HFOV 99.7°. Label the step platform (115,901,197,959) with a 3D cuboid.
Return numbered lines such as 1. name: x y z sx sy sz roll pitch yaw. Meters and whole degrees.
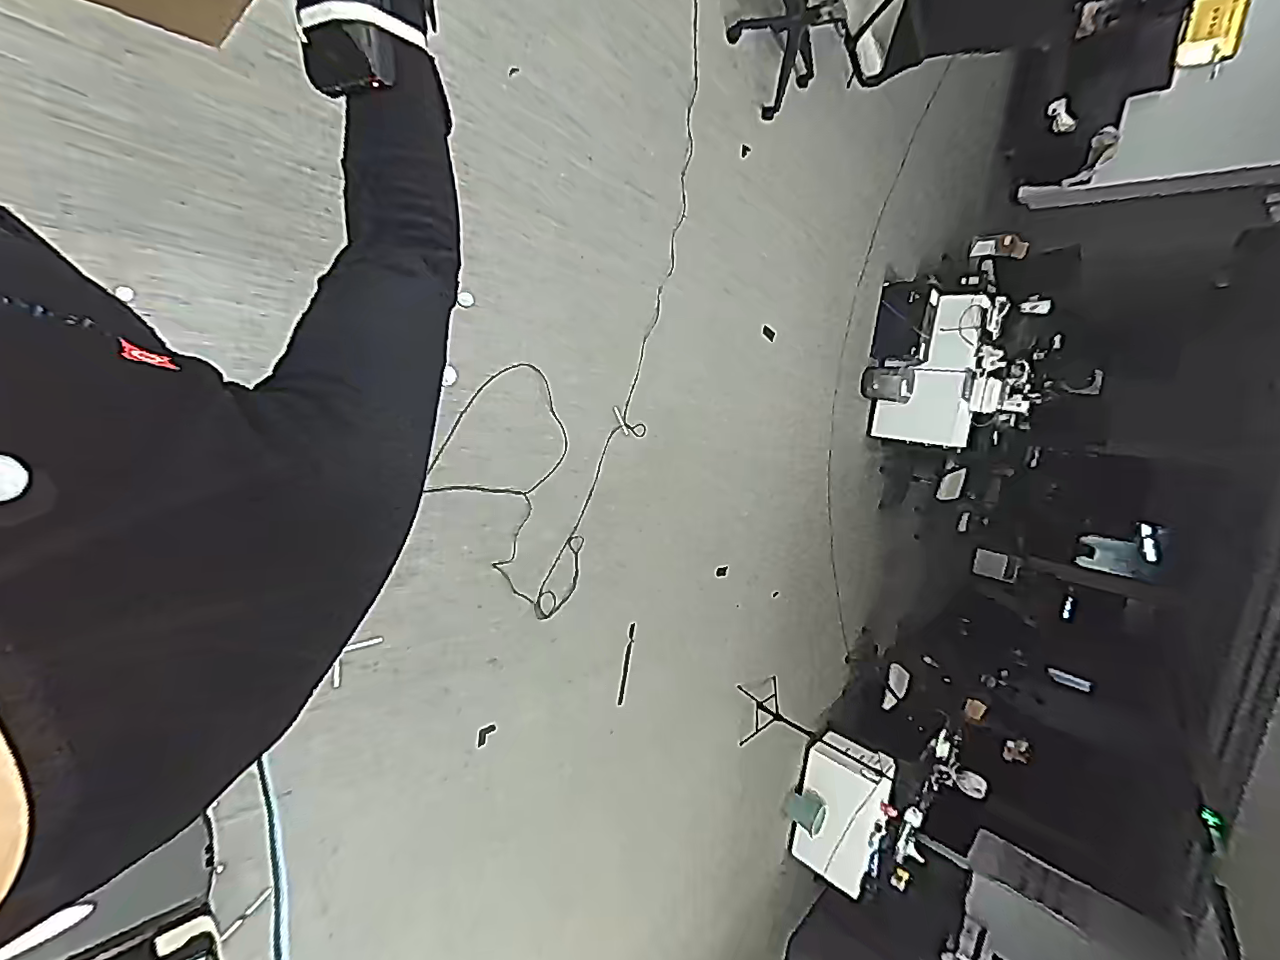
1. step platform: -1.307 1.197 1.063 0.684 0.204 0.286 -5 104 -46
